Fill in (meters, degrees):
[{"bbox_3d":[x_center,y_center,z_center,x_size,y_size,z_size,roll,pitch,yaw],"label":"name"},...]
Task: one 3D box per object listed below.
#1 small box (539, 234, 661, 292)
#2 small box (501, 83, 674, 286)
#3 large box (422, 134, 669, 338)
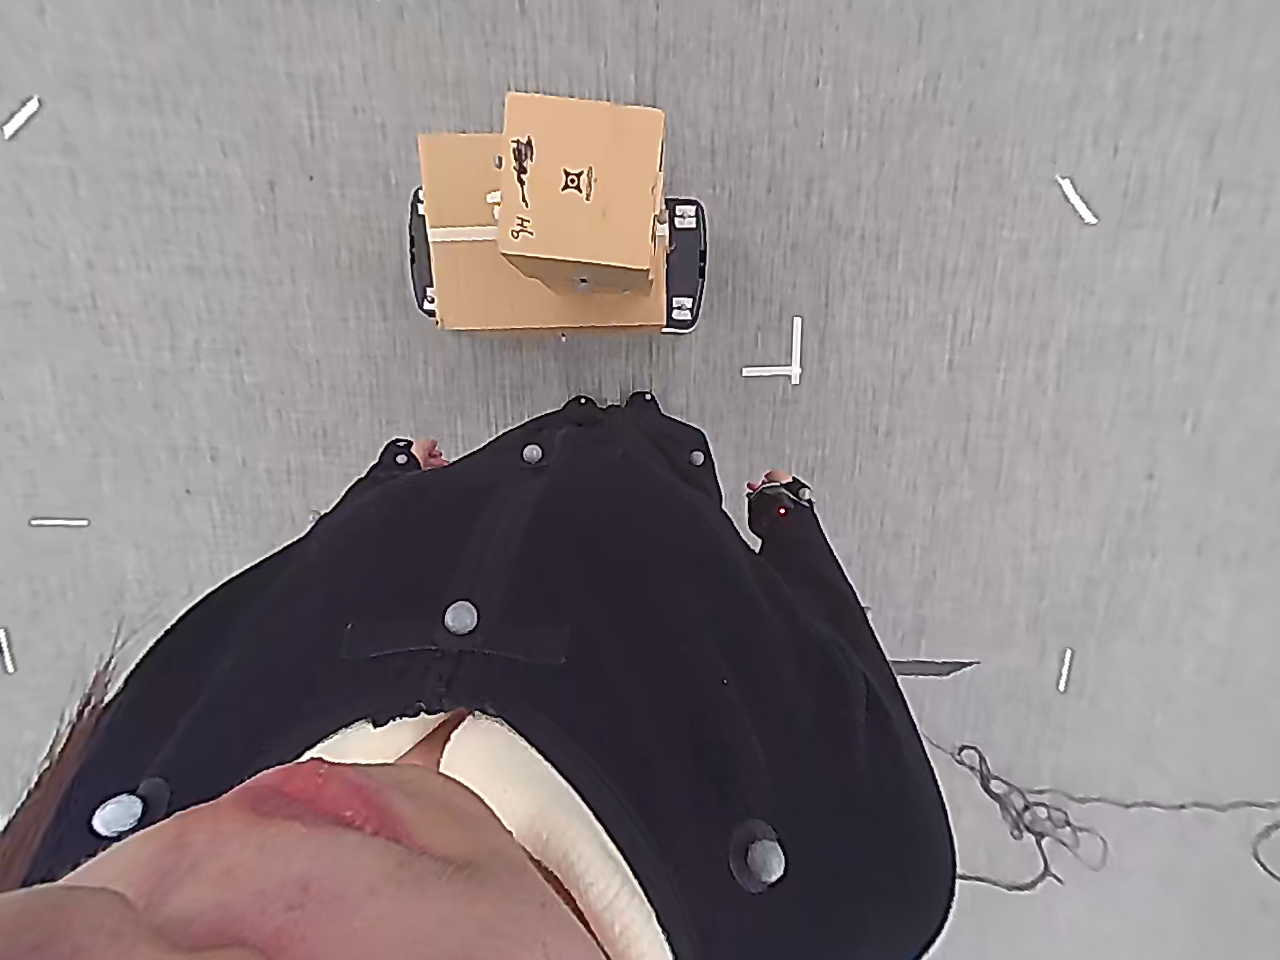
[{"bbox_3d":[-0.059,-0.386,0.823,0.179,0.176,0.168,2,102,-1],"label":"small box"},{"bbox_3d":[-0.062,-0.343,0.664,0.179,0.176,0.168,6,101,-3],"label":"small box"},{"bbox_3d":[-0.153,-0.449,1.058,0.408,0.320,0.320,-1,101,0],"label":"large box"}]
